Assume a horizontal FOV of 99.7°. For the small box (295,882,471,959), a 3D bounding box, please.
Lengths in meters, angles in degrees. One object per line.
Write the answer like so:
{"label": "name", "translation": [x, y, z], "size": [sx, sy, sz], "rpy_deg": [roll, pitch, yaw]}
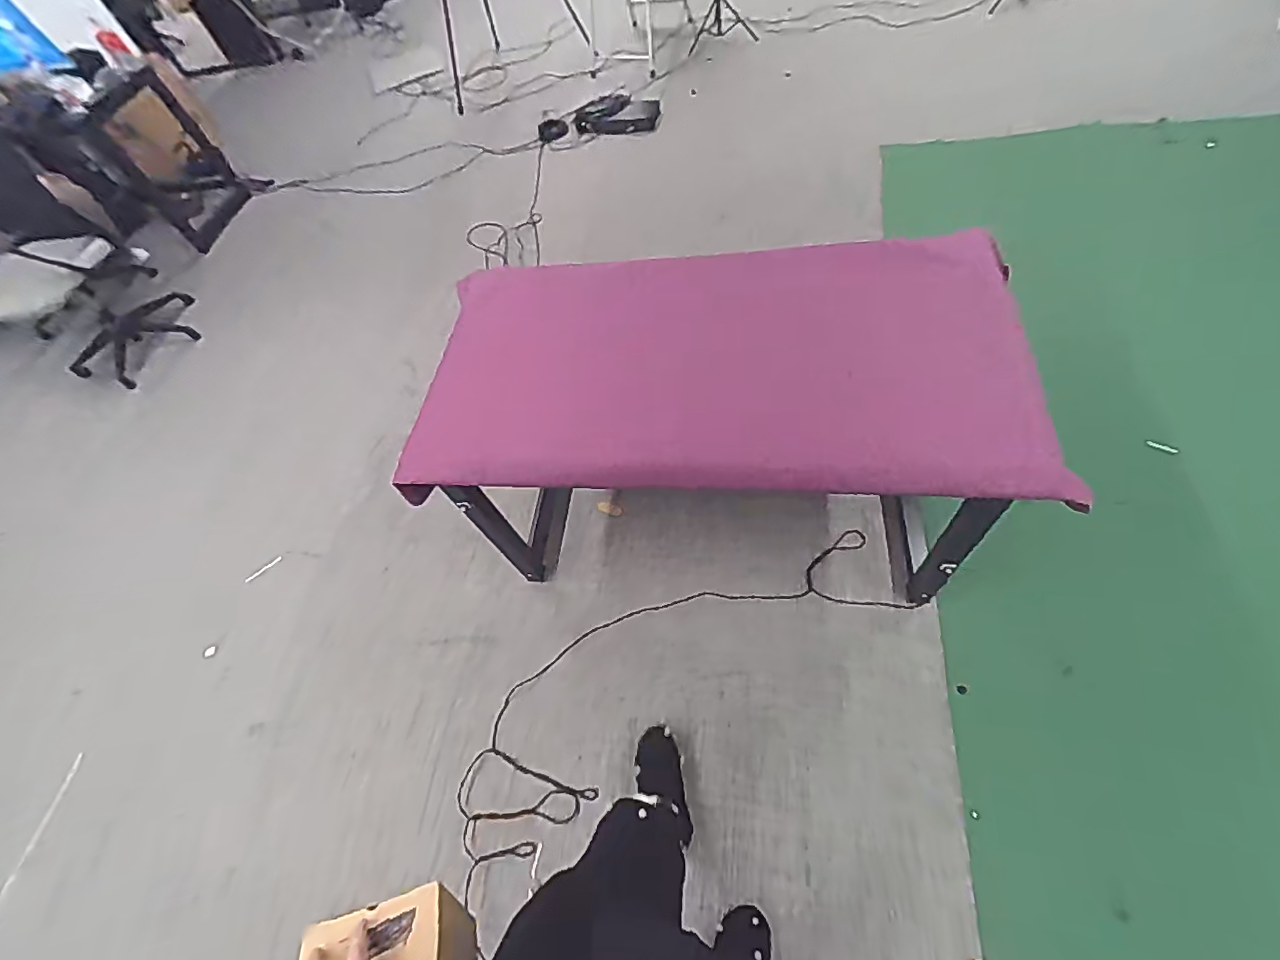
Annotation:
{"label": "small box", "translation": [-0.309, 0.646, 0.661], "size": [0.168, 0.176, 0.179], "rpy_deg": [-15, 38, -11]}
